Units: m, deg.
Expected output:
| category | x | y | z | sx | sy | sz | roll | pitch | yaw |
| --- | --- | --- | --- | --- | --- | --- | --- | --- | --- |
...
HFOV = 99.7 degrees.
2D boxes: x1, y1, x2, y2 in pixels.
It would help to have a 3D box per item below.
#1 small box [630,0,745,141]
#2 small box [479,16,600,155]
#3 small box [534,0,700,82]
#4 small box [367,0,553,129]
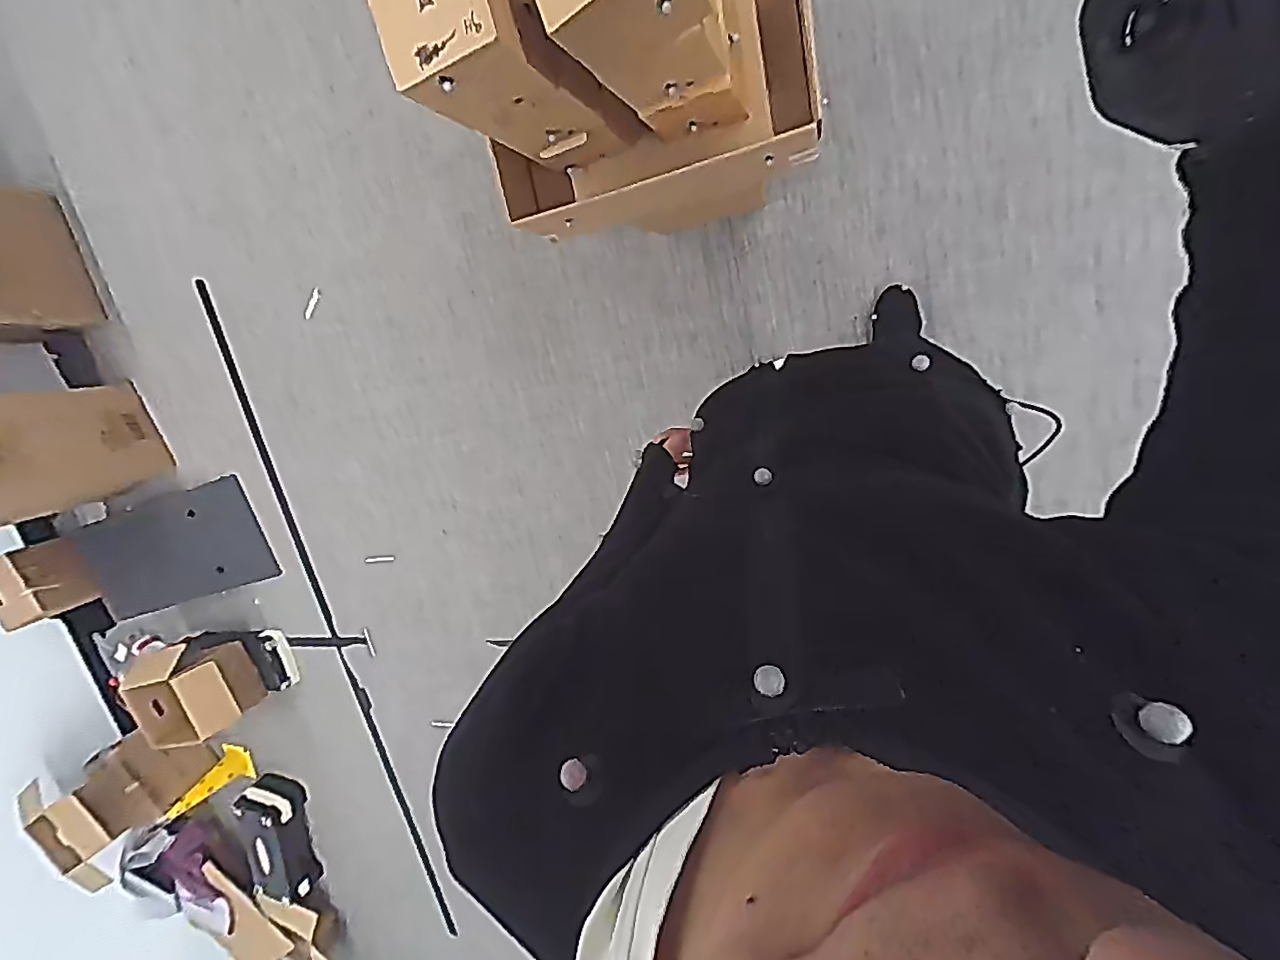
| category | x | y | z | sx | sy | sz | roll | pitch | yaw |
| --- | --- | --- | --- | --- | --- | --- | --- | --- | --- |
| small box | 0.085 | -0.738 | 0.959 | 0.168 | 0.176 | 0.179 | -3 | 106 | 23 |
| small box | -0.186 | -0.675 | 0.891 | 0.168 | 0.176 | 0.179 | -9 | 104 | 22 |
| small box | -0.036 | -0.647 | 0.667 | 0.179 | 0.176 | 0.168 | -17 | 99 | 25 |
| small box | -0.244 | -0.627 | 0.743 | 0.168 | 0.176 | 0.179 | -9 | 102 | 23 |
